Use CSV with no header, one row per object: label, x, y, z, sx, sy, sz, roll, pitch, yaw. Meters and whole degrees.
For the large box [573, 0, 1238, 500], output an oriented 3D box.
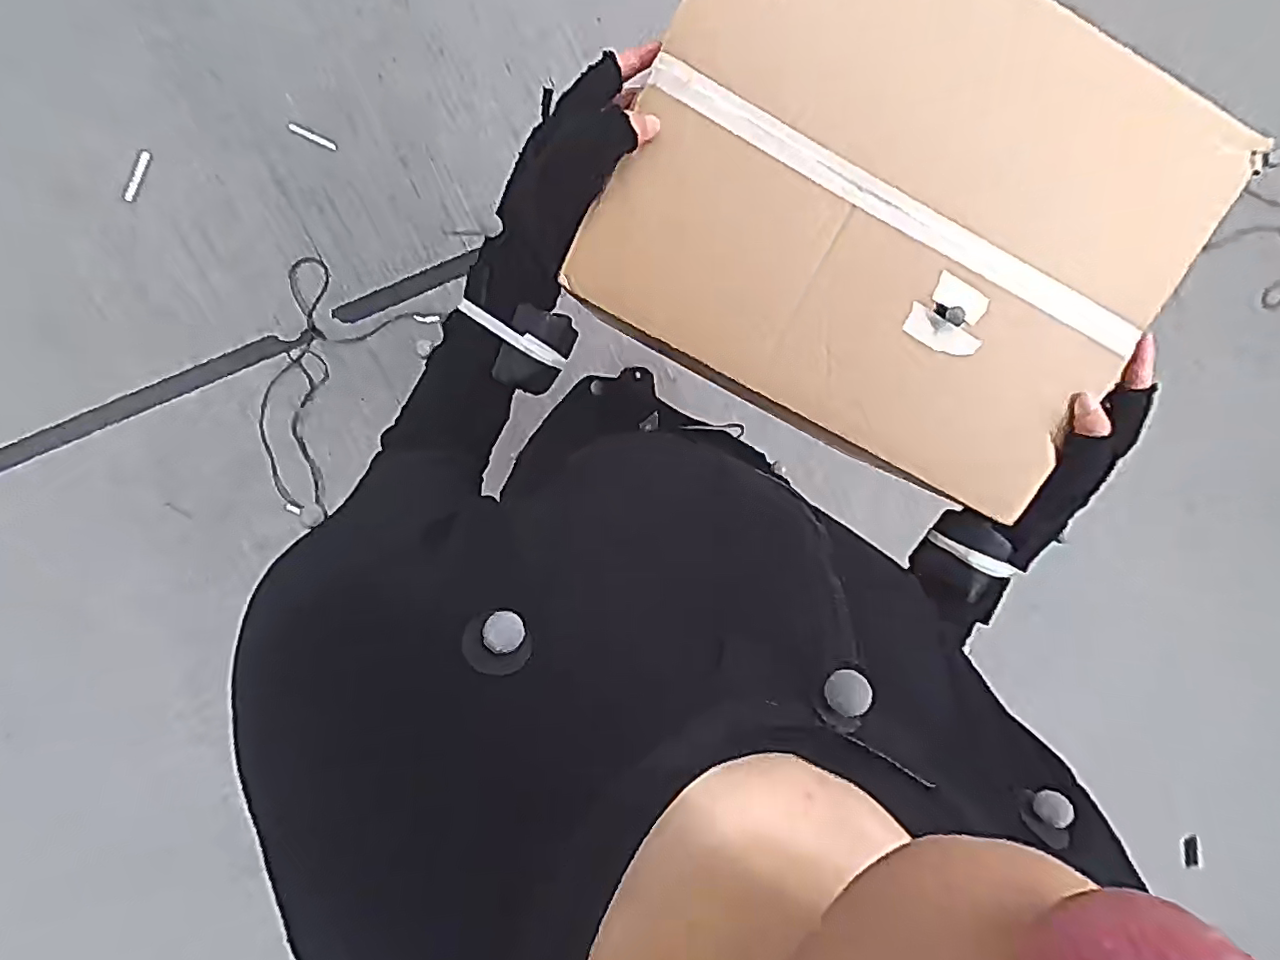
large box,0.188,-0.232,0.544,0.408,0.320,0.320,27,102,-6
